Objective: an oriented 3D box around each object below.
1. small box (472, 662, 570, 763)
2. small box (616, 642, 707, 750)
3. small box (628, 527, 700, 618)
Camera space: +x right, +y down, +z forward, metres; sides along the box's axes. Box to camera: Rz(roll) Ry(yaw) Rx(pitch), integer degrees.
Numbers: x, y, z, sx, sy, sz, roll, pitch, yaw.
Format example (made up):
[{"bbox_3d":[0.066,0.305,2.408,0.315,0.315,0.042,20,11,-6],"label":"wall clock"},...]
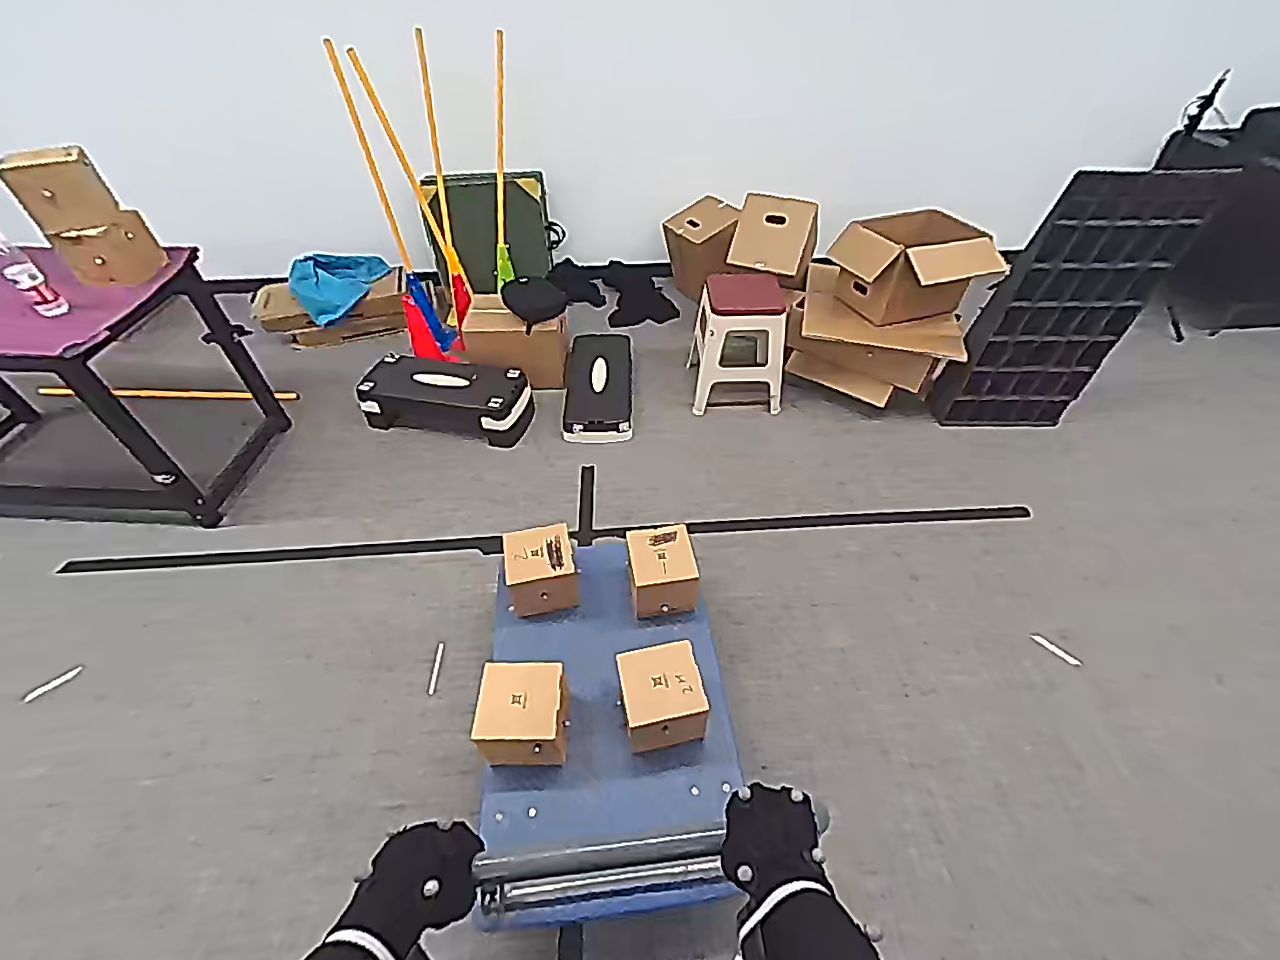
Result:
[{"bbox_3d":[-0.259,0.525,1.218,0.179,0.176,0.168,1,47,-1],"label":"small box"},{"bbox_3d":[0.046,0.498,1.239,0.179,0.176,0.168,-9,47,-7],"label":"small box"},{"bbox_3d":[0.058,0.252,1.472,0.168,0.176,0.179,-7,48,-6],"label":"small box"}]
